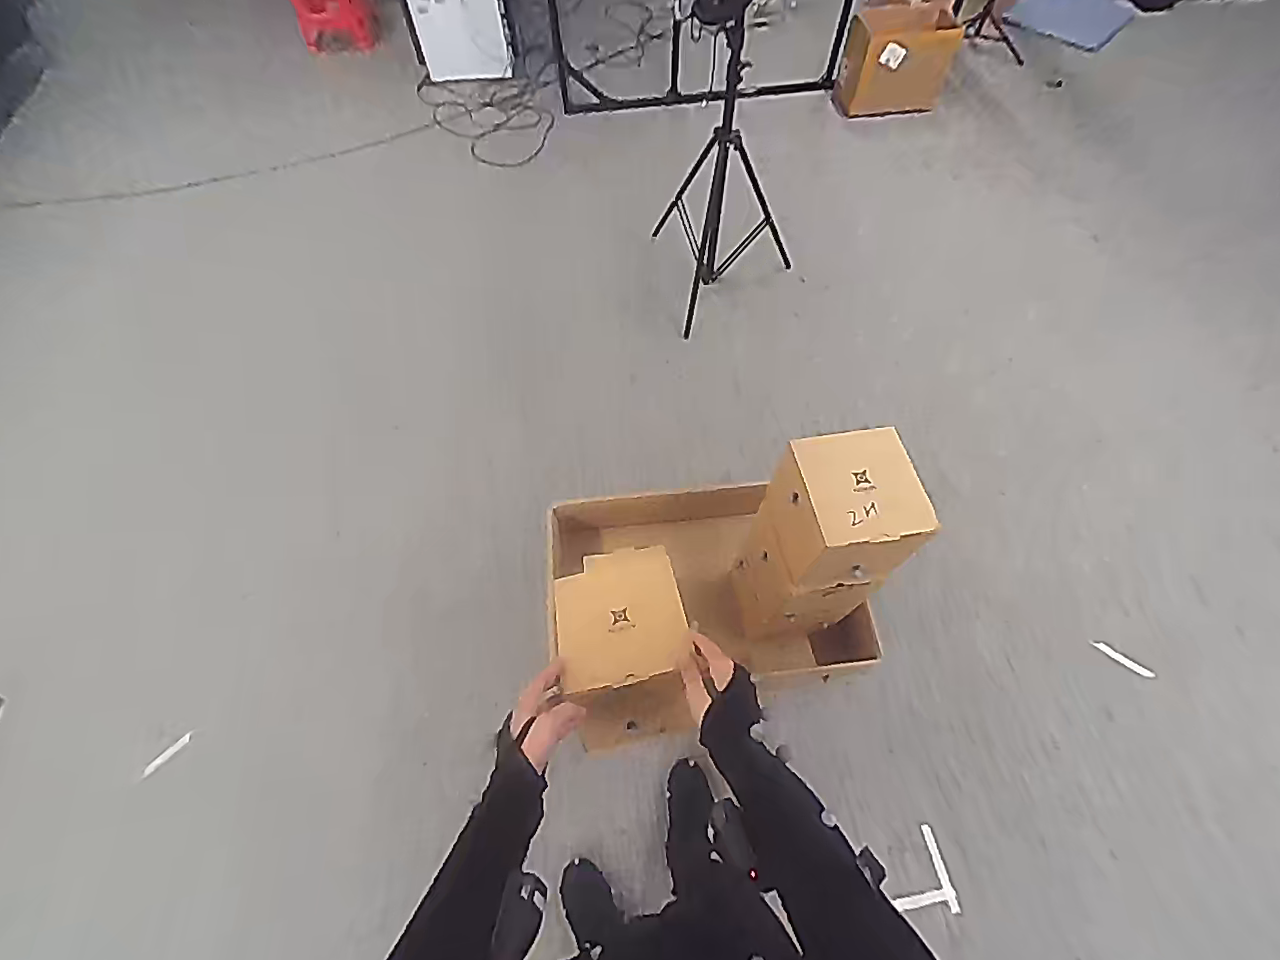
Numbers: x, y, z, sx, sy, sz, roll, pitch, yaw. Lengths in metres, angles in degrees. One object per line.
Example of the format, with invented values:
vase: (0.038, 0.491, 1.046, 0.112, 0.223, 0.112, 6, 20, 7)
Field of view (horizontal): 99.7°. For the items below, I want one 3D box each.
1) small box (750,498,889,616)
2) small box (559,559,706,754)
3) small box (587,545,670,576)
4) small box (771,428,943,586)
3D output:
small box: (0.307, 0.136, 0.966, 0.168, 0.176, 0.179, -8, 61, -5)
small box: (-0.010, 0.240, 0.737, 0.168, 0.176, 0.179, -12, 43, -3)
small box: (-0.013, 0.252, 1.094, 0.168, 0.176, 0.179, -9, 62, -3)
small box: (0.313, 0.045, 0.828, 0.168, 0.176, 0.179, -8, 62, -4)
